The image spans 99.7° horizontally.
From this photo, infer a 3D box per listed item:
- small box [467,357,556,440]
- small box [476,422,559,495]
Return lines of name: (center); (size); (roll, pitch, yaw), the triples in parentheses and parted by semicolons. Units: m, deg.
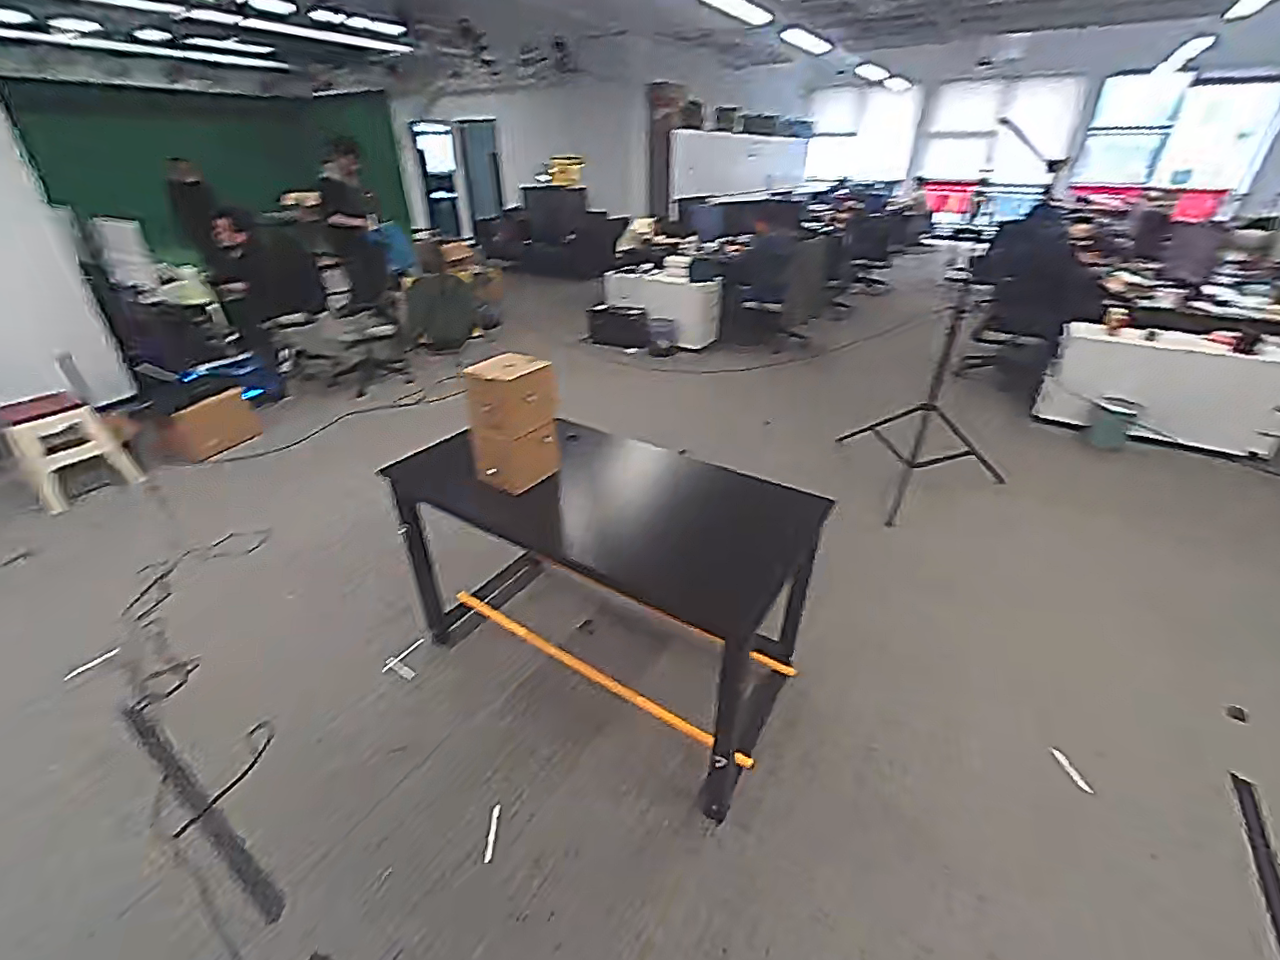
small box: (-0.348, -0.227, 1.505); (0.168, 0.176, 0.179); (18, 36, 27)
small box: (-0.351, -0.082, 1.581); (0.168, 0.176, 0.179); (19, 36, 30)
